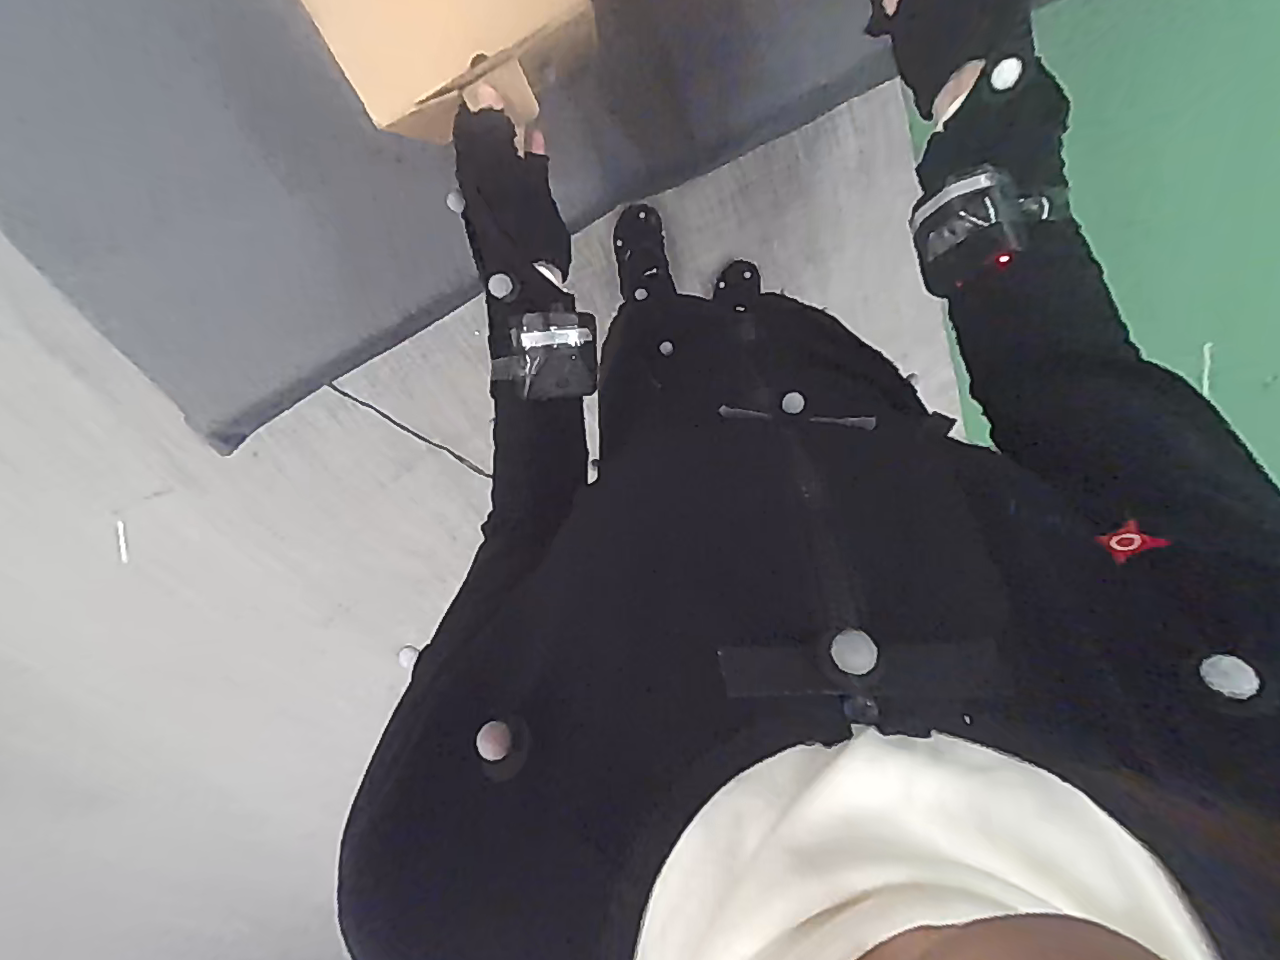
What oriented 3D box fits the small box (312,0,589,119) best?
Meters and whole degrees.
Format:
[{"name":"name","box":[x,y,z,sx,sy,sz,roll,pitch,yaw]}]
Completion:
[{"name":"small box","box":[-0.143,-0.384,0.381,0.168,0.176,0.179,-24,117,9]}]
